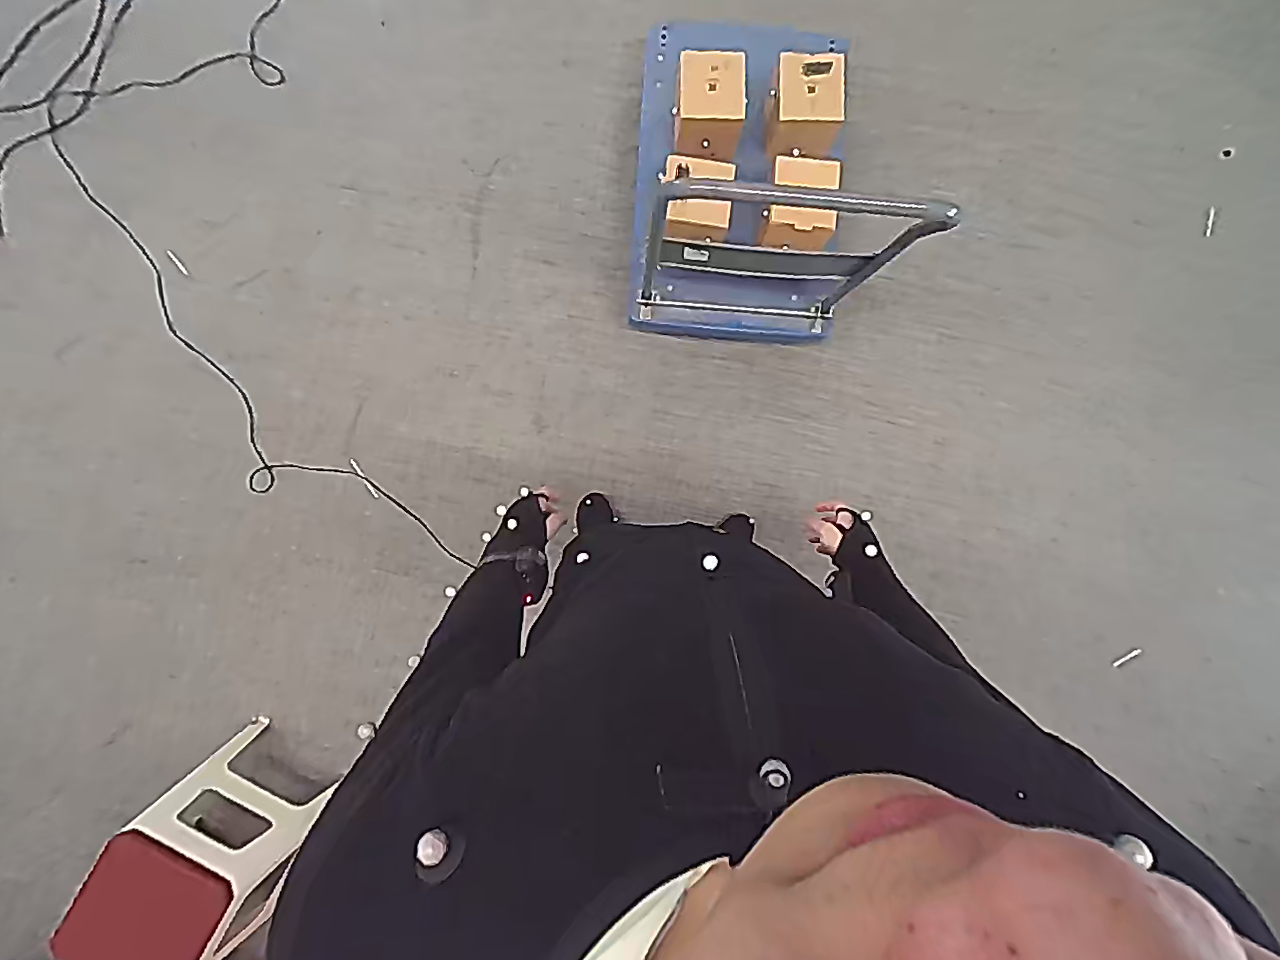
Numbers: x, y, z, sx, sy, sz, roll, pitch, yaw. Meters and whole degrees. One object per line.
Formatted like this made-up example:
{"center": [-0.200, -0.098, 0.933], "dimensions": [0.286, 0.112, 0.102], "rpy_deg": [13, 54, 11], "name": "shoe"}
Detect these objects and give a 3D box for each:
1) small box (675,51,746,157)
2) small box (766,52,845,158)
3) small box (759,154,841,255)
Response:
{"center": [0.185, -0.998, 1.448], "dimensions": [0.168, 0.176, 0.179], "rpy_deg": [0, 88, -2], "name": "small box"}
{"center": [0.438, -0.999, 1.451], "dimensions": [0.168, 0.176, 0.179], "rpy_deg": [0, 89, 0], "name": "small box"}
{"center": [0.420, -0.729, 1.444], "dimensions": [0.168, 0.176, 0.179], "rpy_deg": [5, 88, -1], "name": "small box"}
